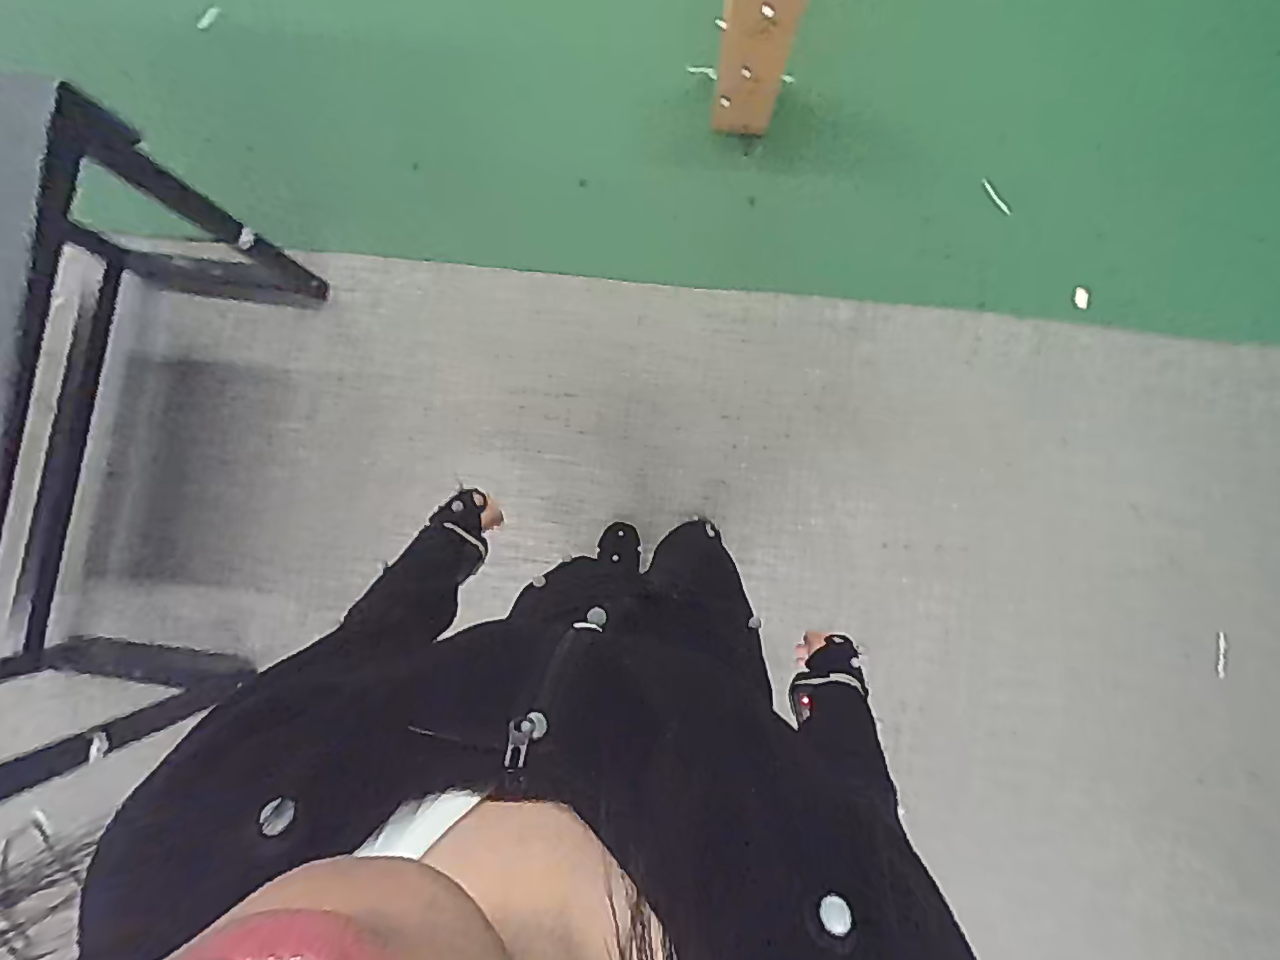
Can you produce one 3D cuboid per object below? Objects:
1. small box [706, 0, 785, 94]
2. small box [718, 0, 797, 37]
[{"bbox_3d":[0.261,-1.110,1.341,0.168,0.176,0.179,5,86,0],"label":"small box"},{"bbox_3d":[0.269,-1.127,1.176,0.168,0.176,0.179,6,86,0],"label":"small box"}]
